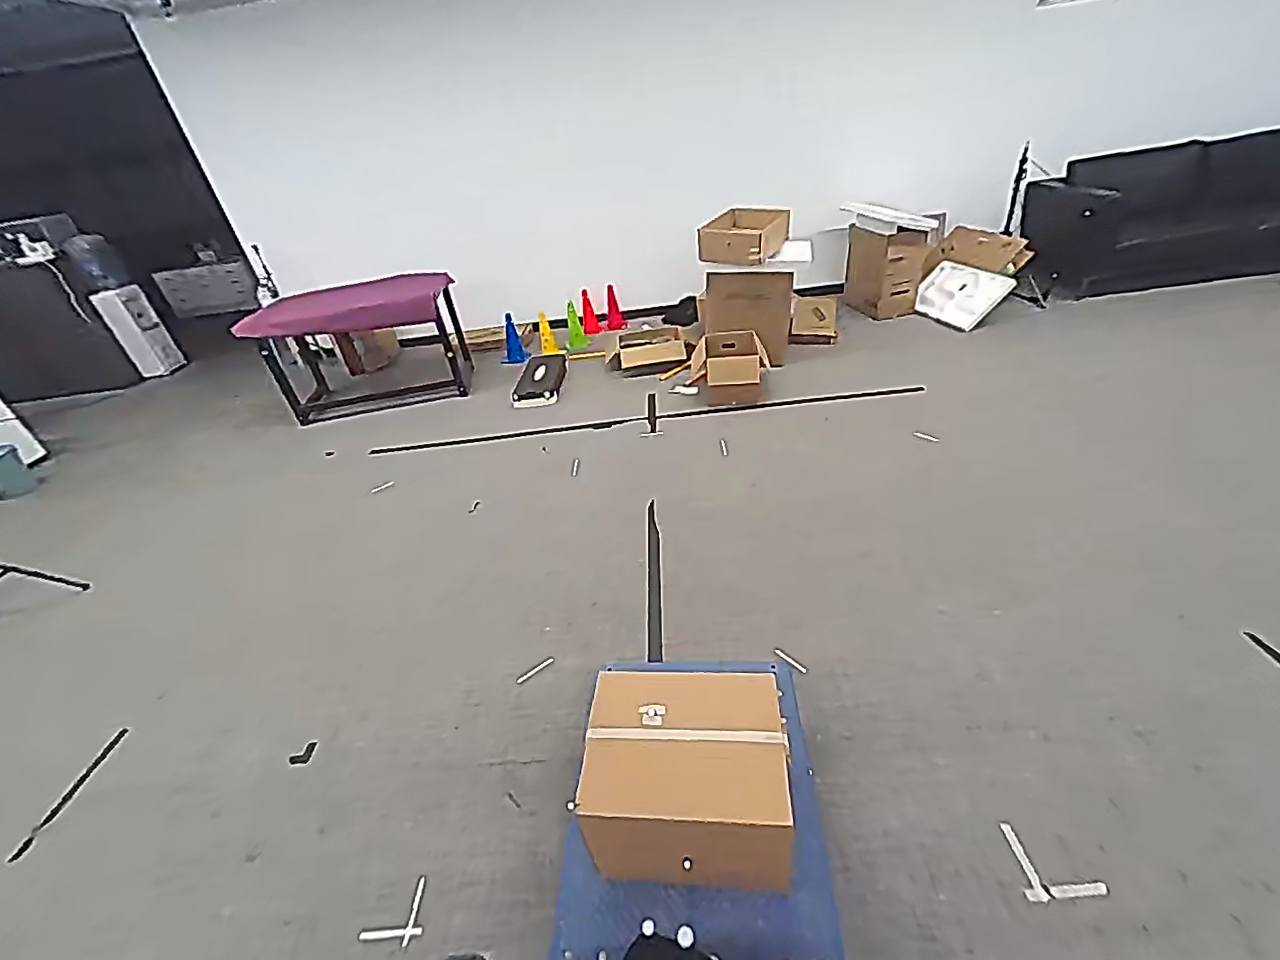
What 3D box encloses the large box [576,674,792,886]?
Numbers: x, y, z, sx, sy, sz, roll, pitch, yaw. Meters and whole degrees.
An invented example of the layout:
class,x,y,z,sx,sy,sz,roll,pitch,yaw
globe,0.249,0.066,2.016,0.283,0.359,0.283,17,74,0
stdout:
class,x,y,z,sx,sy,sz,roll,pitch,yaw
large box,0.109,0.660,1.198,0.408,0.320,0.320,-4,33,9
